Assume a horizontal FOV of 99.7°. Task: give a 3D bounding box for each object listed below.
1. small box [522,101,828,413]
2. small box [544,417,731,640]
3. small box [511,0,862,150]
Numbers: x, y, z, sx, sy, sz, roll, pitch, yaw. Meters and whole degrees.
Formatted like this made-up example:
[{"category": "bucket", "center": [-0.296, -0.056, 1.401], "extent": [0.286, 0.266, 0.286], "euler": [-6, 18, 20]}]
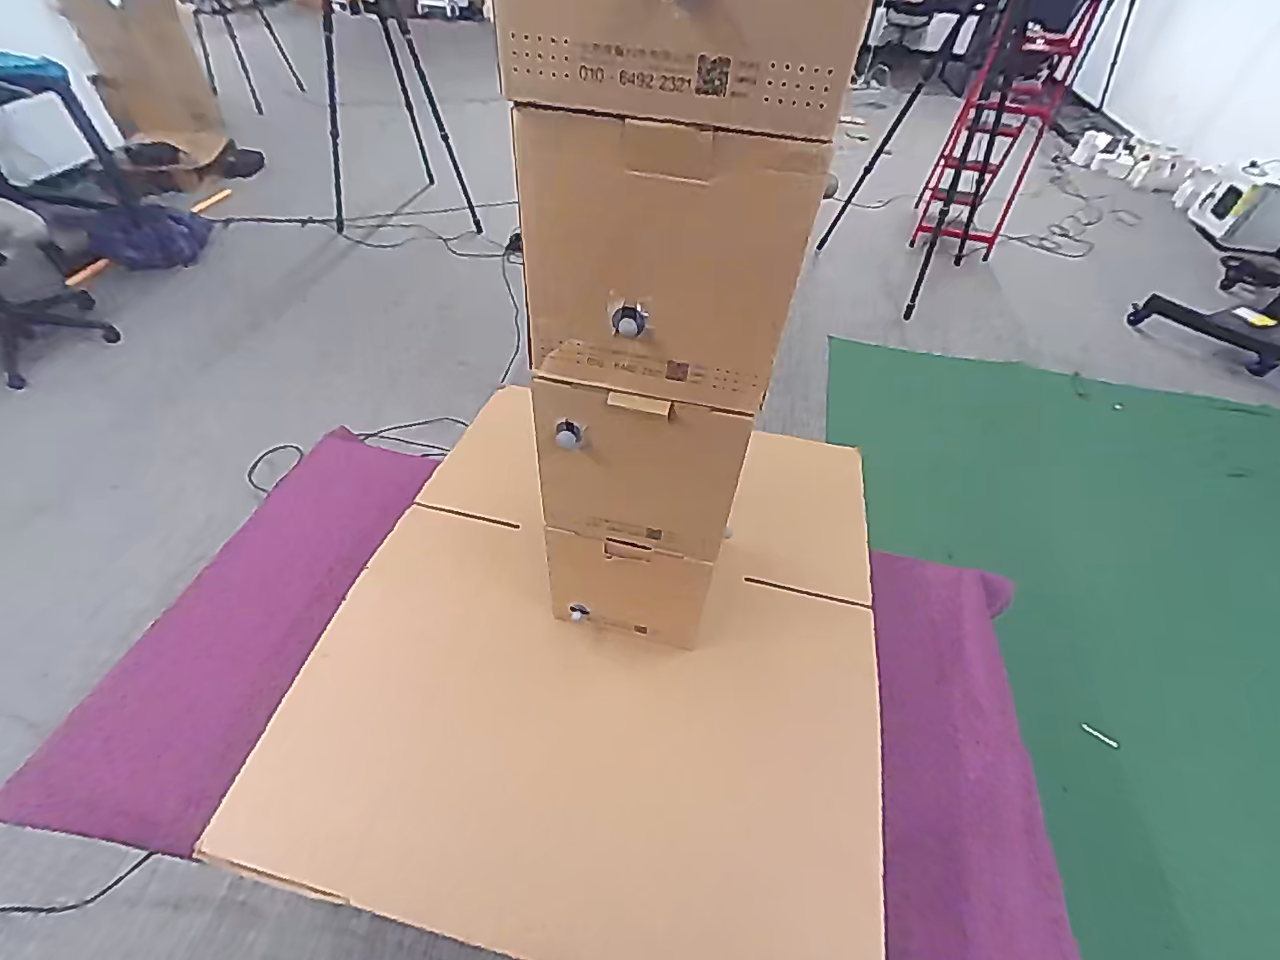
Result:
[{"category": "small box", "center": [0.025, -0.176, 0.393], "extent": [0.168, 0.176, 0.179], "euler": [10, 45, 5]}, {"category": "small box", "center": [0.002, 0.057, 0.621], "extent": [0.168, 0.176, 0.179], "euler": [12, 46, 6]}, {"category": "small box", "center": [0.032, -0.291, 0.275], "extent": [0.168, 0.176, 0.179], "euler": [10, 45, 5]}]
